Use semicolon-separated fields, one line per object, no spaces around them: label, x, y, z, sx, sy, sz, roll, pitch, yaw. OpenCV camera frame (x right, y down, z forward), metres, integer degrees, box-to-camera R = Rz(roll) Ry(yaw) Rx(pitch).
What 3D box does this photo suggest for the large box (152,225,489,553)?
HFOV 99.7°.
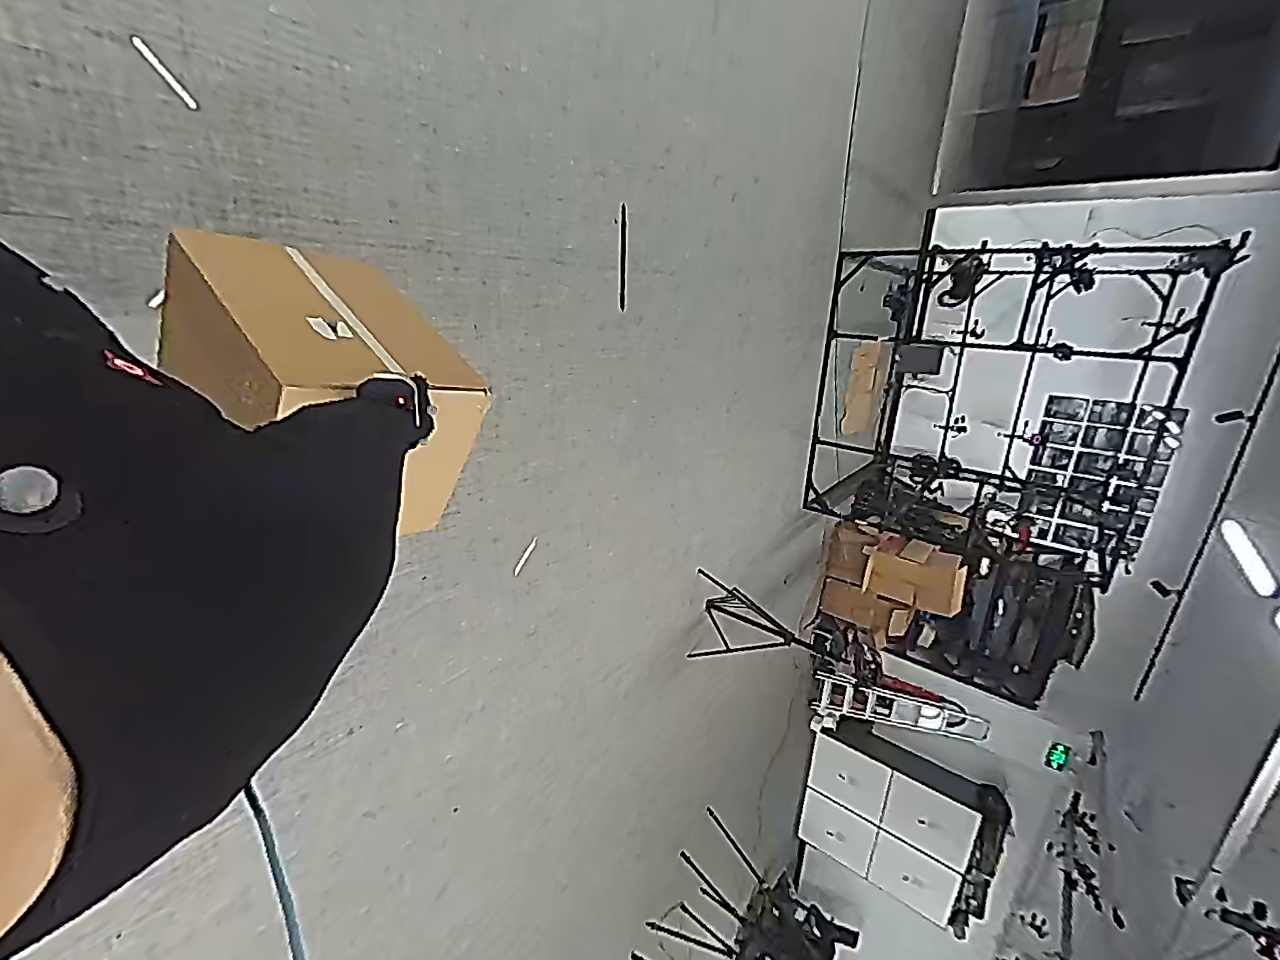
large box;-0.539;-0.147;0.903;0.320;0.408;0.320;-11;140;-55
